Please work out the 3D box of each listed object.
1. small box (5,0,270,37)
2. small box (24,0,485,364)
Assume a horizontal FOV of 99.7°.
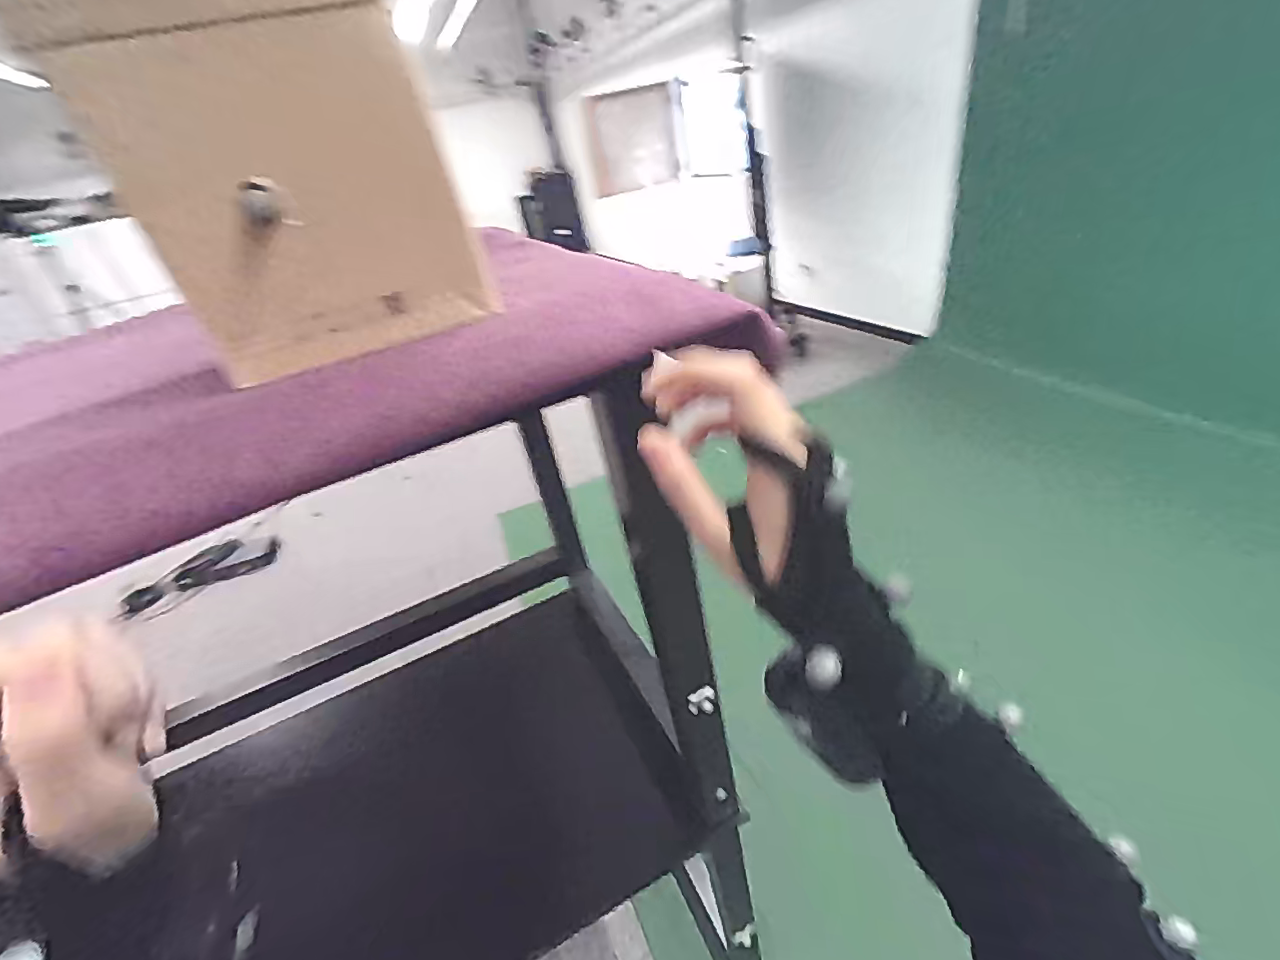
[{"bbox_3d":[-0.254,-0.328,0.283,0.168,0.176,0.179,-22,34,-15],"label":"small box"},{"bbox_3d":[-0.221,-0.193,0.370,0.168,0.176,0.179,-23,33,-15],"label":"small box"}]
